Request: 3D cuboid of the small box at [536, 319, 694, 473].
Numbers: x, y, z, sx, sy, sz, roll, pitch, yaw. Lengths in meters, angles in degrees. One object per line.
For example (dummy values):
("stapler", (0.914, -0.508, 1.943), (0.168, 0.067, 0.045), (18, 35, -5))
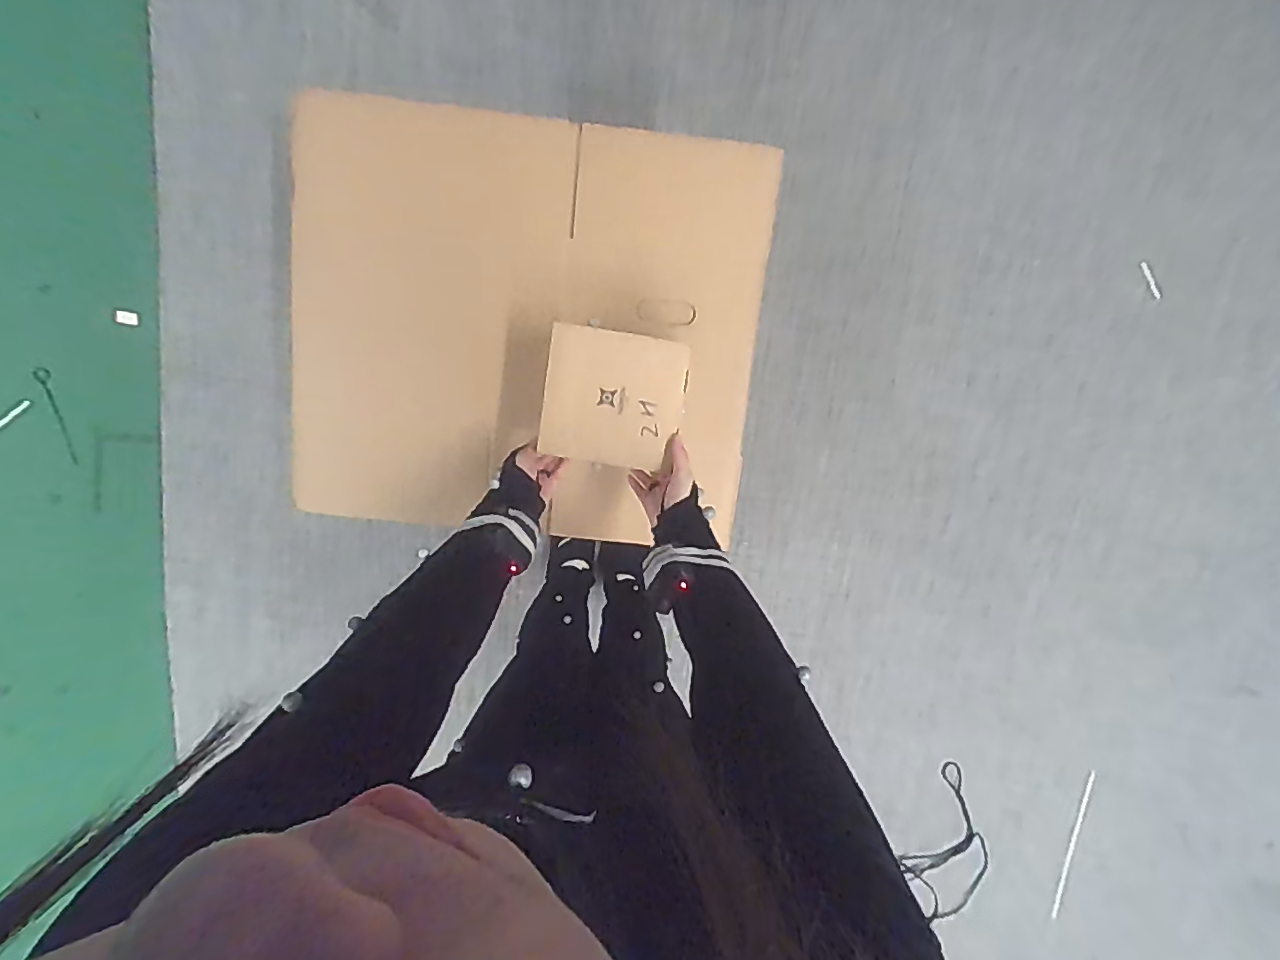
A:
("small box", (-0.031, -0.116, 0.750), (0.179, 0.176, 0.168), (10, 101, -1))
